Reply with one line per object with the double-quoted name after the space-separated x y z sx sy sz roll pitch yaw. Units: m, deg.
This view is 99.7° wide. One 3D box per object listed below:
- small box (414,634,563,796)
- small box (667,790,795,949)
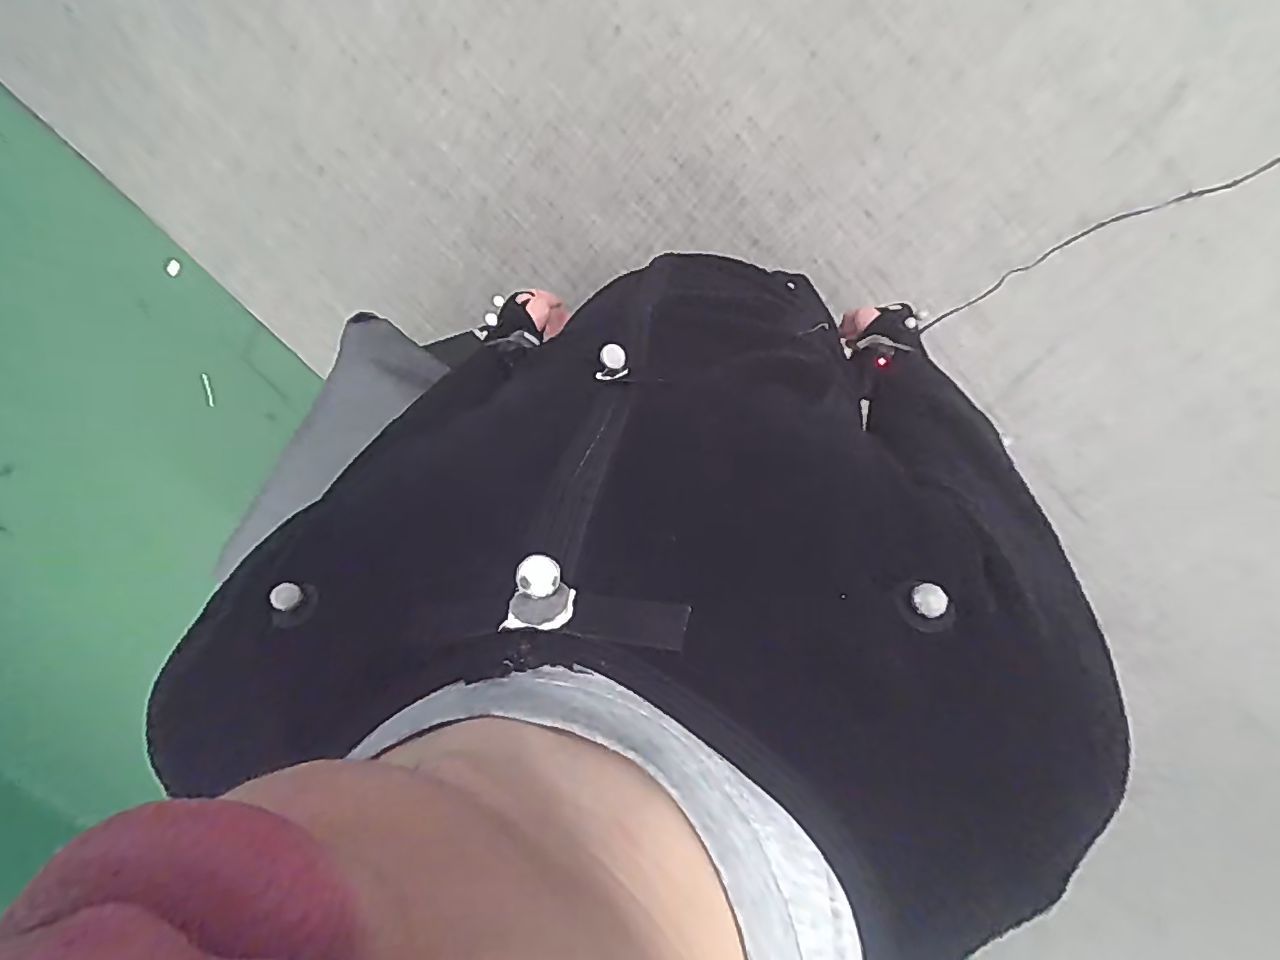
-0.264 0.421 0.984 0.168 0.176 0.179 43 111 -10 "small box"
0.173 0.751 1.055 0.168 0.176 0.179 41 112 -9 "small box"
